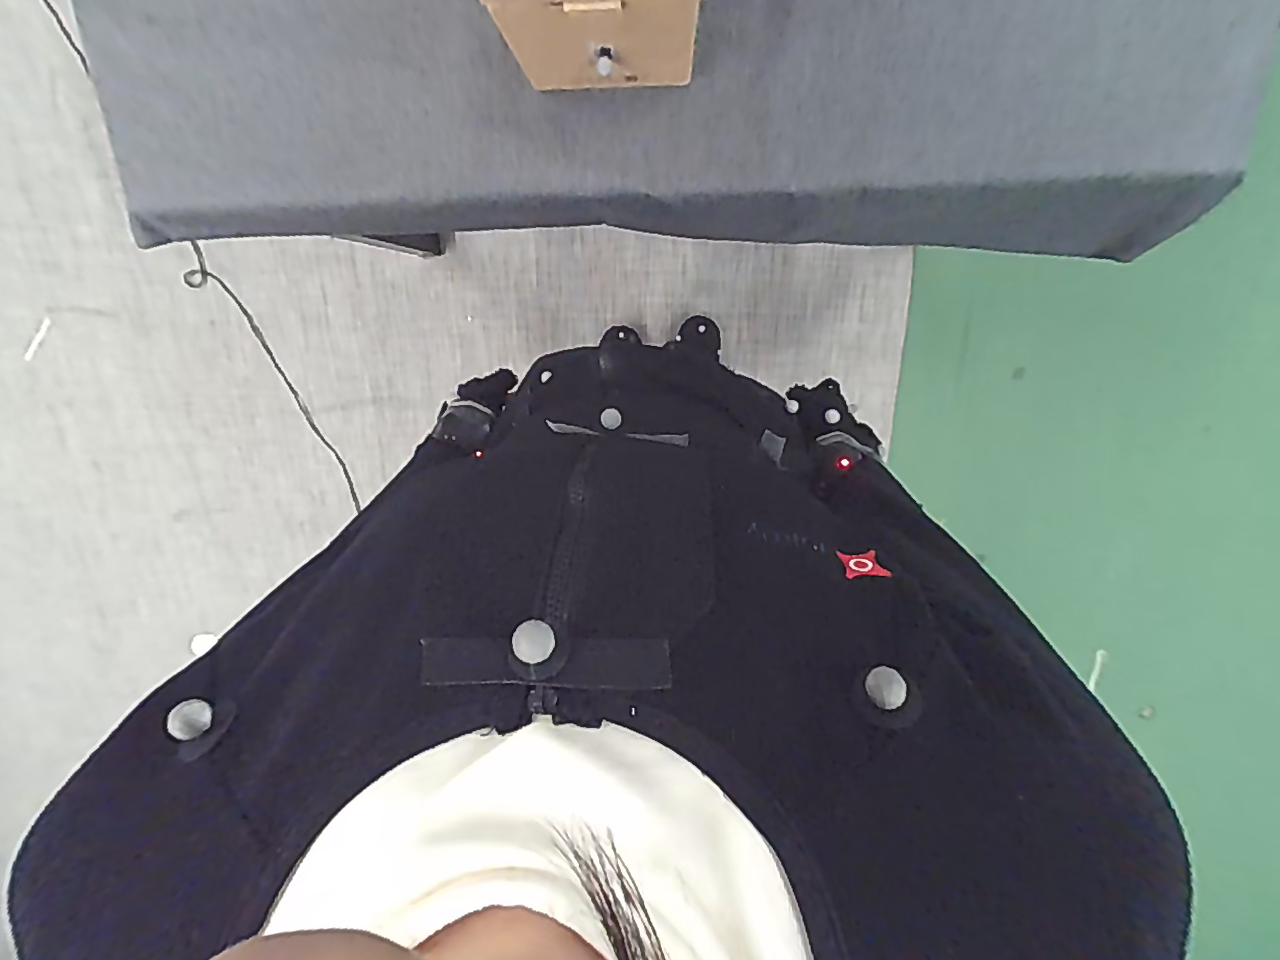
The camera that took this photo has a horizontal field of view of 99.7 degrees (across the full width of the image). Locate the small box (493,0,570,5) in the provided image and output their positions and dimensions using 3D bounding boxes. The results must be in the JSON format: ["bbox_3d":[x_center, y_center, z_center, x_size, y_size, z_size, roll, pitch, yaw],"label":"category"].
[{"bbox_3d":[-0.036,-0.415,0.307,0.179,0.176,0.168,-3,107,3],"label":"small box"}]

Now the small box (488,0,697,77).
[{"bbox_3d":[-0.033,-0.472,0.461,0.168,0.176,0.179,0,108,3],"label":"small box"}]
